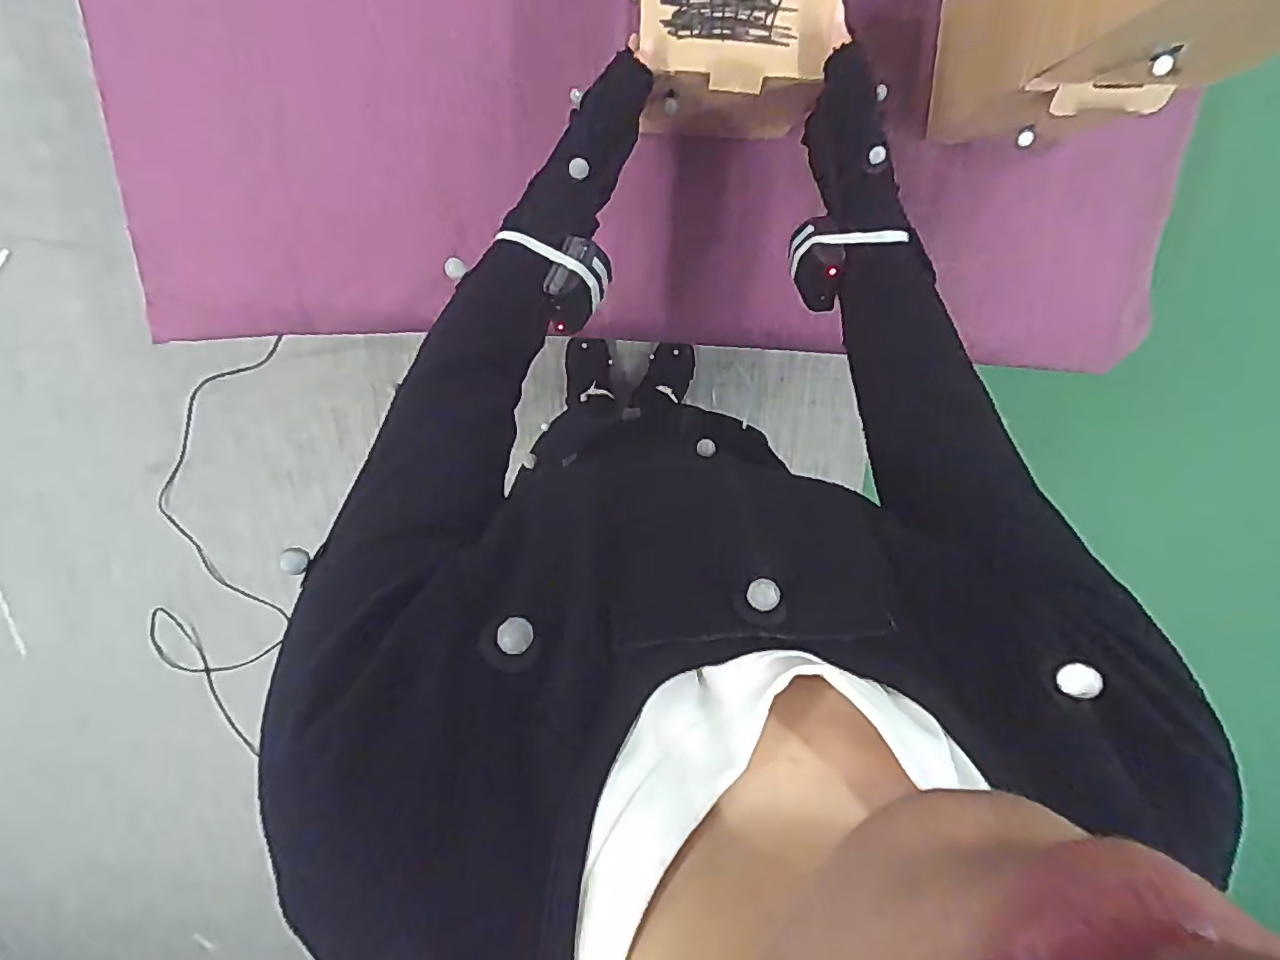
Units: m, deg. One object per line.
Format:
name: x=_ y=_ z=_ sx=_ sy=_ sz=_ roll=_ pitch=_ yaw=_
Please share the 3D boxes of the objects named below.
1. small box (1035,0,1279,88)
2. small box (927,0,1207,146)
small box: x=0.409 y=-0.394 z=0.358 sx=0.168 sy=0.176 sz=0.179 roll=-1 pitch=109 yaw=-1
small box: x=0.402 y=-0.441 z=0.514 sx=0.168 sy=0.176 sz=0.179 roll=-1 pitch=108 yaw=0
